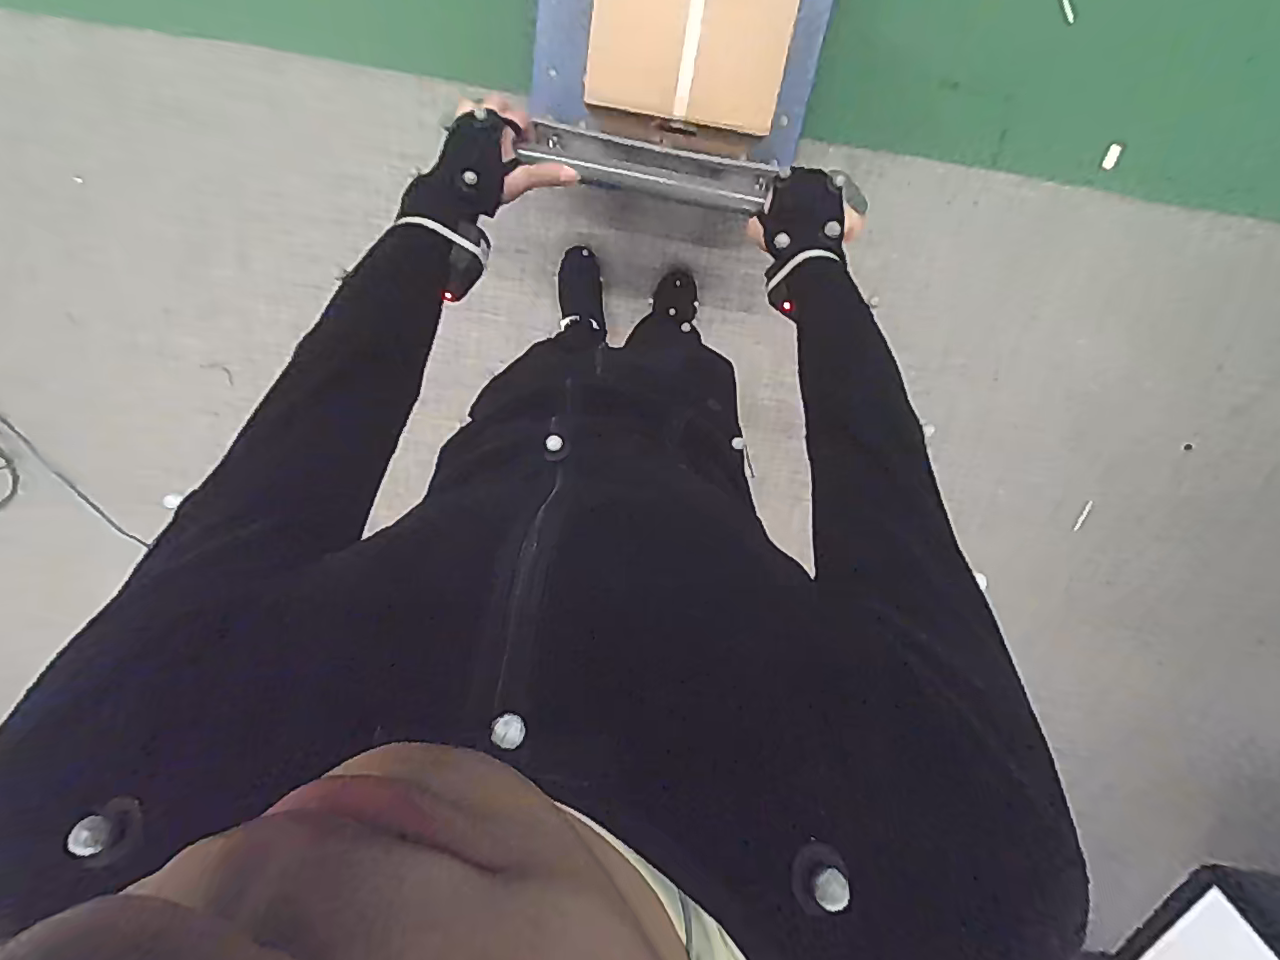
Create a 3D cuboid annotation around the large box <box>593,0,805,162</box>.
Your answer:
[{"bbox_3d":[0.107,-0.826,0.951,0.320,0.320,0.408,9,114,-3],"label":"large box"}]
